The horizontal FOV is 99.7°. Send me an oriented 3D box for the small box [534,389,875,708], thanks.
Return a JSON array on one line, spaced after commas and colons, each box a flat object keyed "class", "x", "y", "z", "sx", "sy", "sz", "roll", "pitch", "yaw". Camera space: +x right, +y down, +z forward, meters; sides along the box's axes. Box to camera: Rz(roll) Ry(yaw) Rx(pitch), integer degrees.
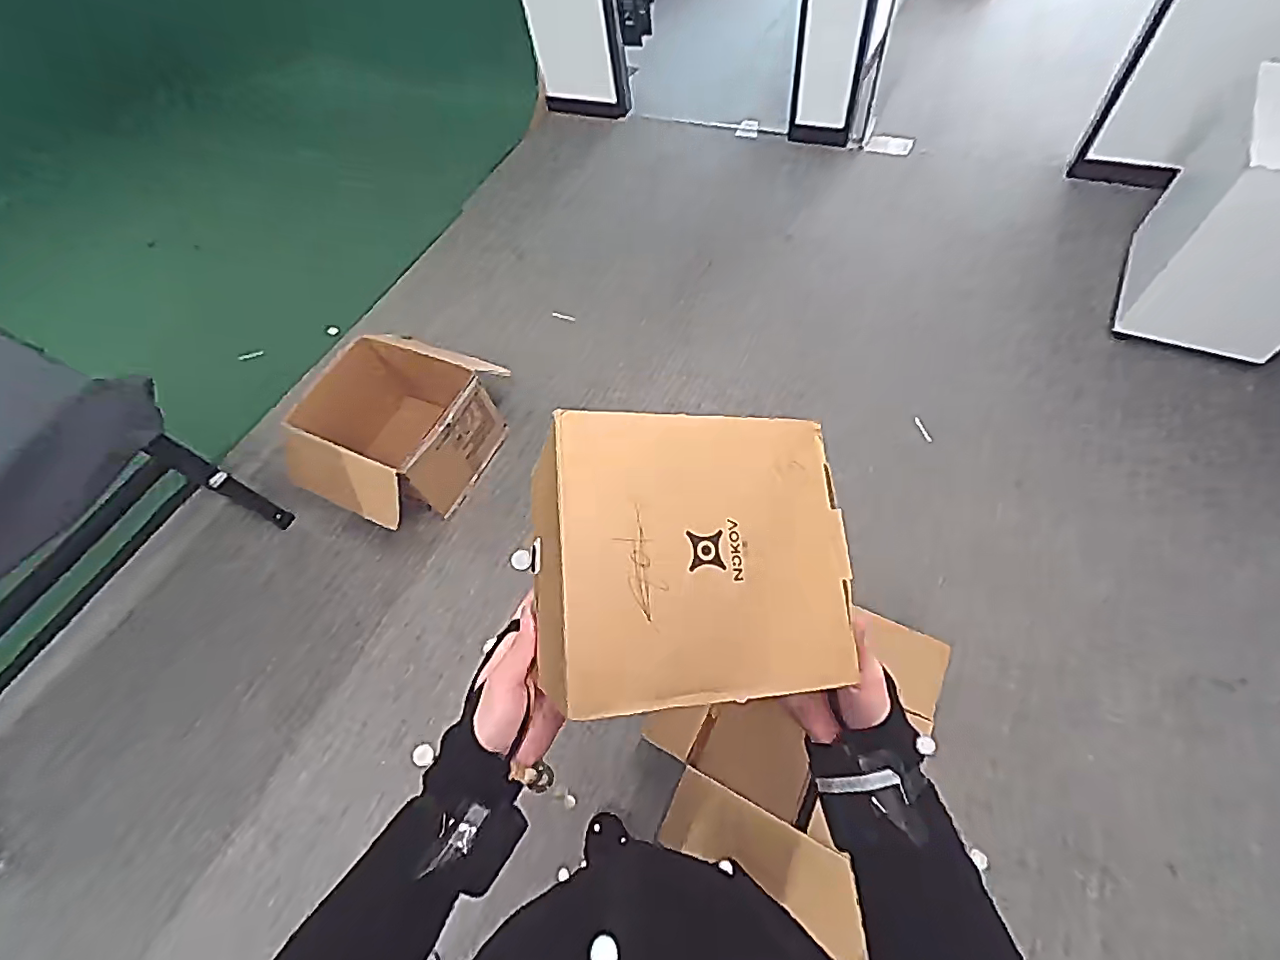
[{"class": "small box", "x": 0.024, "y": 0.048, "z": 0.373, "sx": 0.179, "sy": 0.176, "sz": 0.168, "roll": -1, "pitch": 76, "yaw": -15}]
